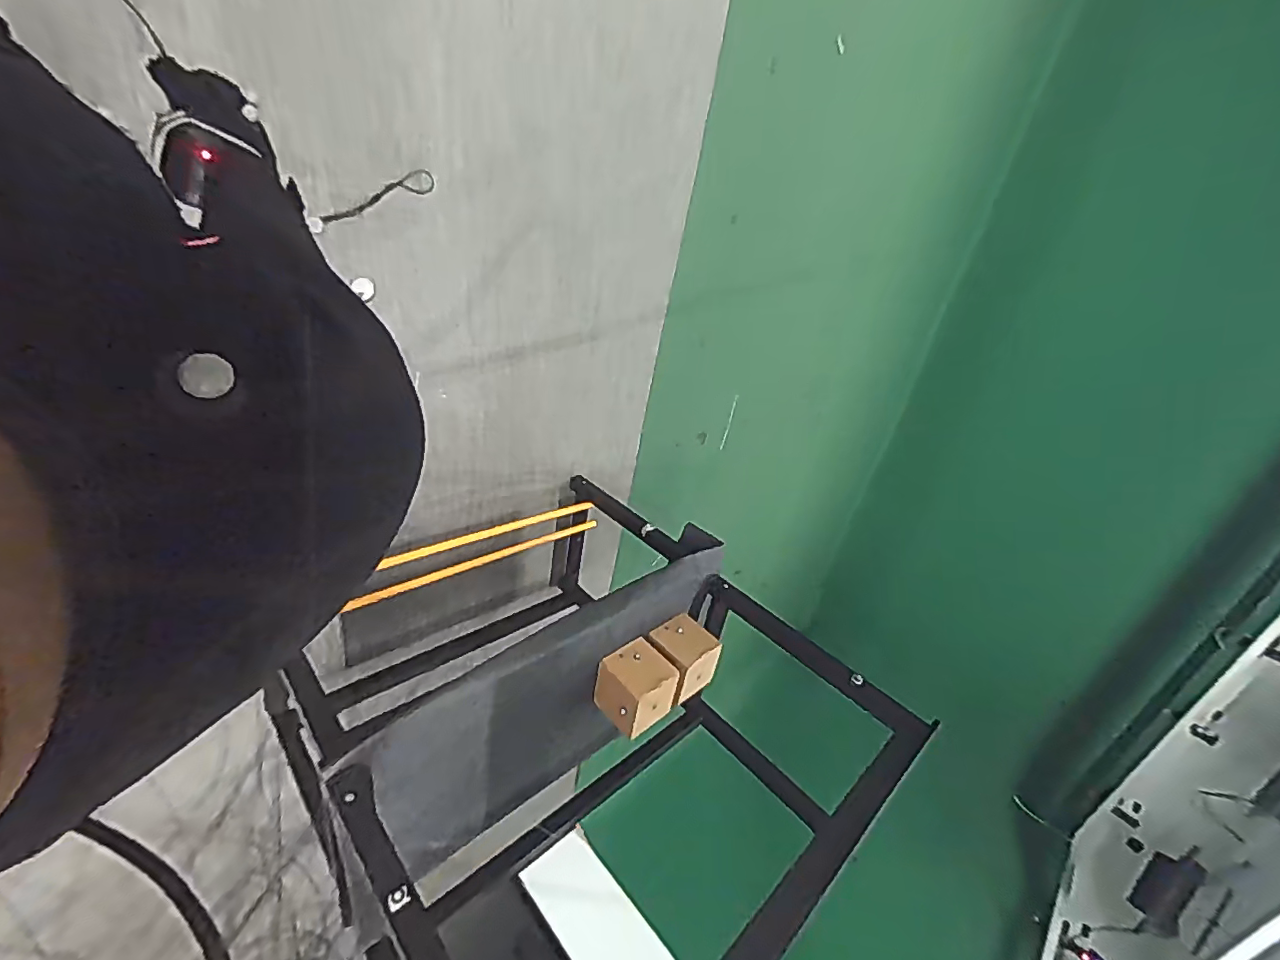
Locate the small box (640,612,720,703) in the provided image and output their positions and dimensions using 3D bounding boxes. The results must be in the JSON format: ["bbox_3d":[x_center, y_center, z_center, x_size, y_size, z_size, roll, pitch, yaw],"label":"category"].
[{"bbox_3d":[0.120,0.550,1.698,0.168,0.176,0.179,-19,130,-41],"label":"small box"}]
